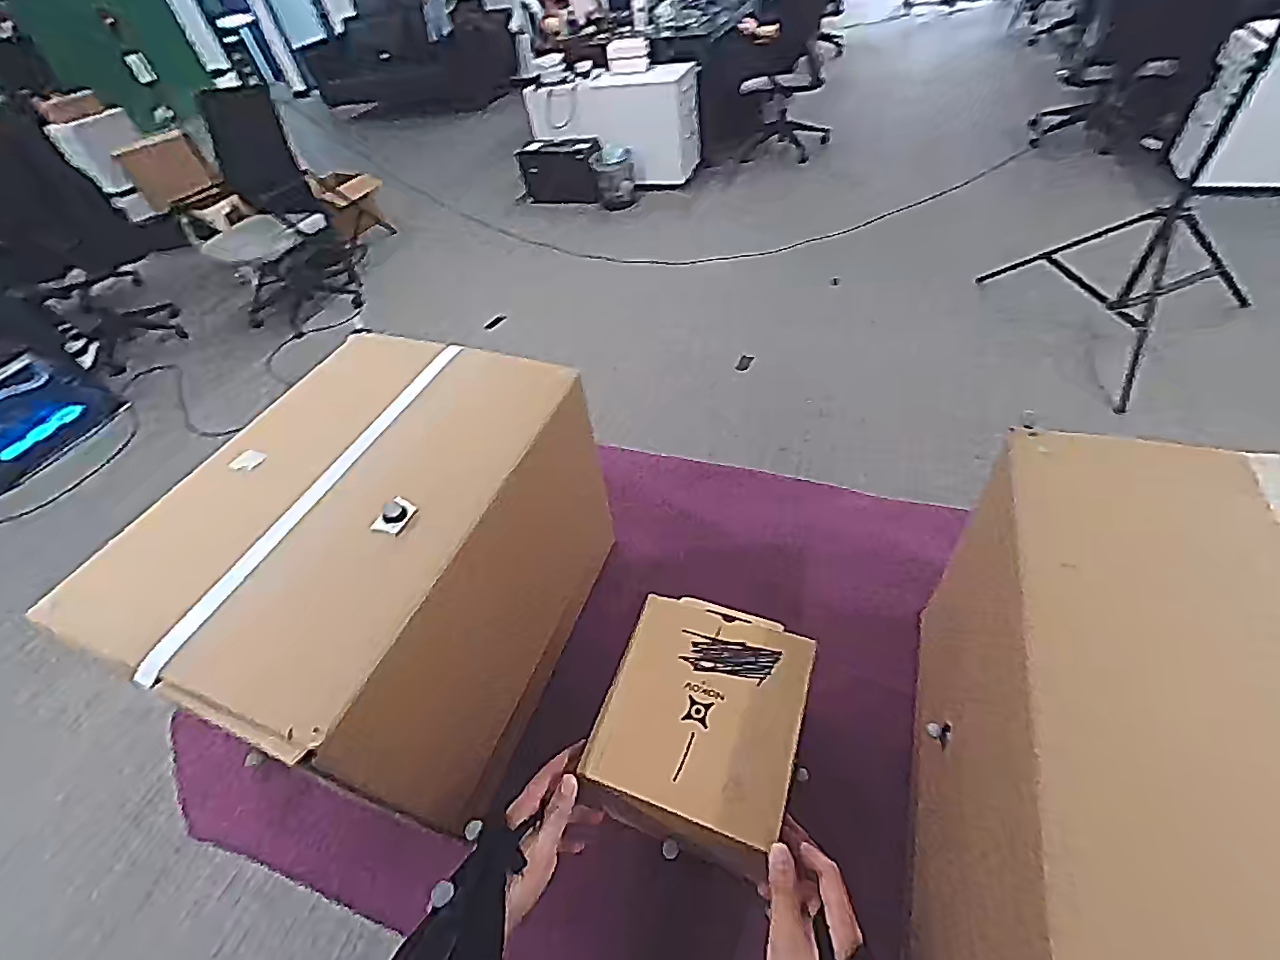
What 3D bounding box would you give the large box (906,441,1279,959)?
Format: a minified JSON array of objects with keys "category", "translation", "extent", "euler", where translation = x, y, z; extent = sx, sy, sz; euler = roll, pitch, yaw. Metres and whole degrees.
[{"category":"large box","translation":[0.391,0.233,0.388],"extent":[0.320,0.320,0.408],"euler":[11,49,19]}]
